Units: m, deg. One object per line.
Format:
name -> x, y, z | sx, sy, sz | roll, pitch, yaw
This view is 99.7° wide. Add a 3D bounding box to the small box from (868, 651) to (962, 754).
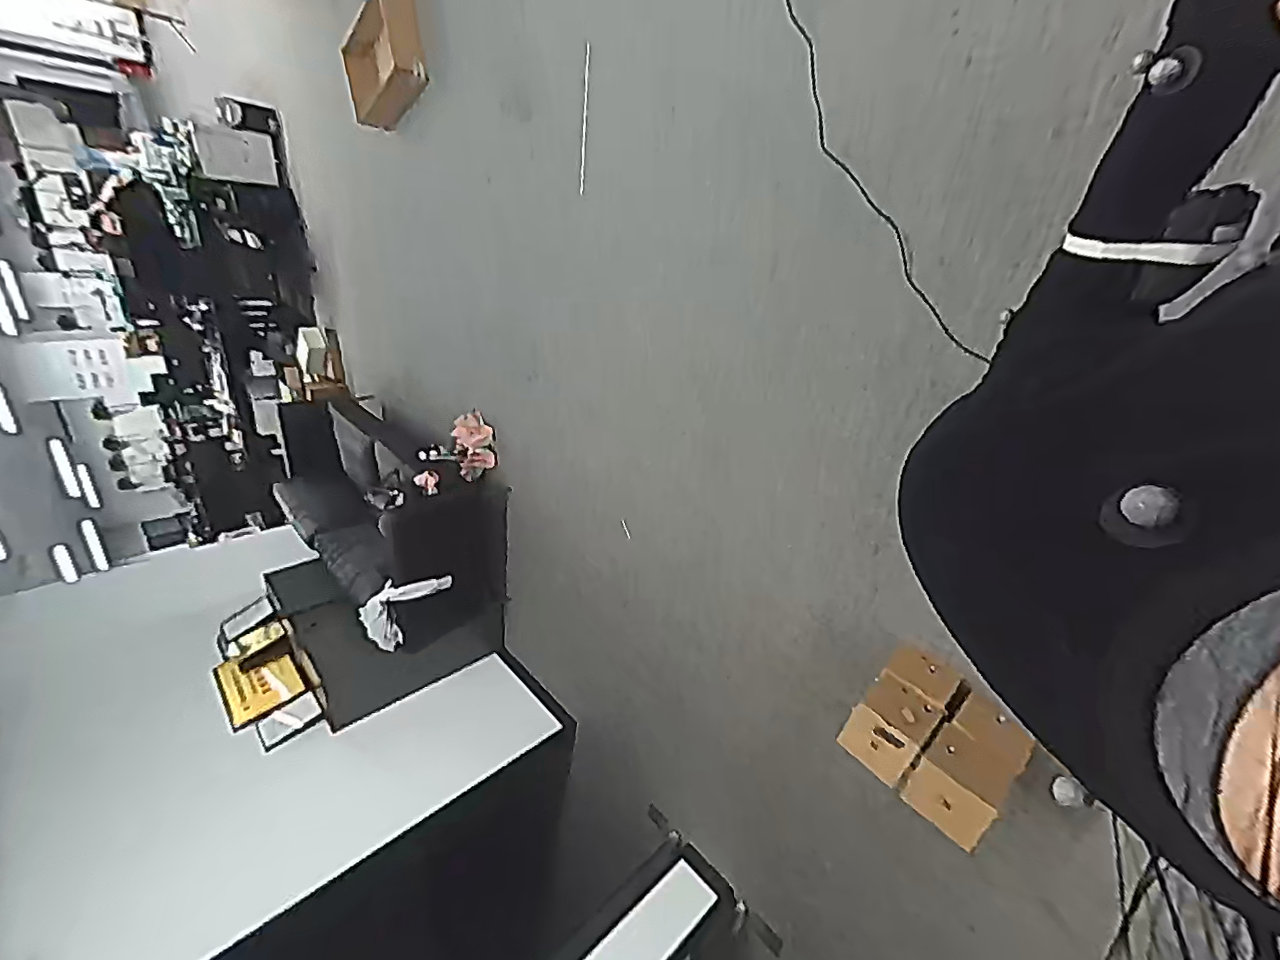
small box -> 0.791, 0.631, 1.551 | 0.168, 0.176, 0.179 | 29, 122, 38
